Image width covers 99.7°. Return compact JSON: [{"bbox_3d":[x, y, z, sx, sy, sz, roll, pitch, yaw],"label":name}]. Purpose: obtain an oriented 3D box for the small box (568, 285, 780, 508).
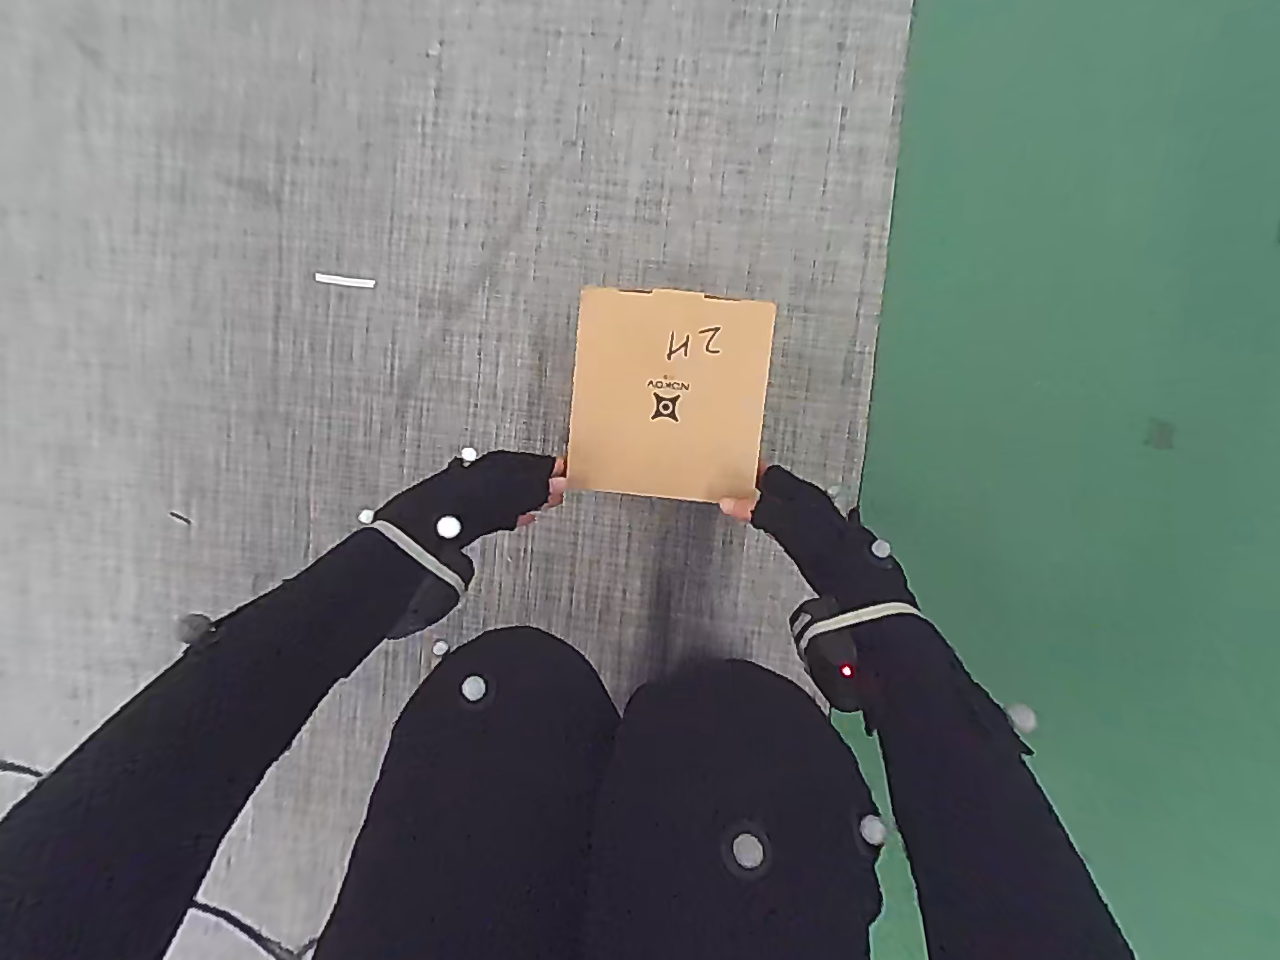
[{"bbox_3d":[0.031,-0.077,0.537,0.168,0.176,0.179,6,95,2],"label":"small box"}]
